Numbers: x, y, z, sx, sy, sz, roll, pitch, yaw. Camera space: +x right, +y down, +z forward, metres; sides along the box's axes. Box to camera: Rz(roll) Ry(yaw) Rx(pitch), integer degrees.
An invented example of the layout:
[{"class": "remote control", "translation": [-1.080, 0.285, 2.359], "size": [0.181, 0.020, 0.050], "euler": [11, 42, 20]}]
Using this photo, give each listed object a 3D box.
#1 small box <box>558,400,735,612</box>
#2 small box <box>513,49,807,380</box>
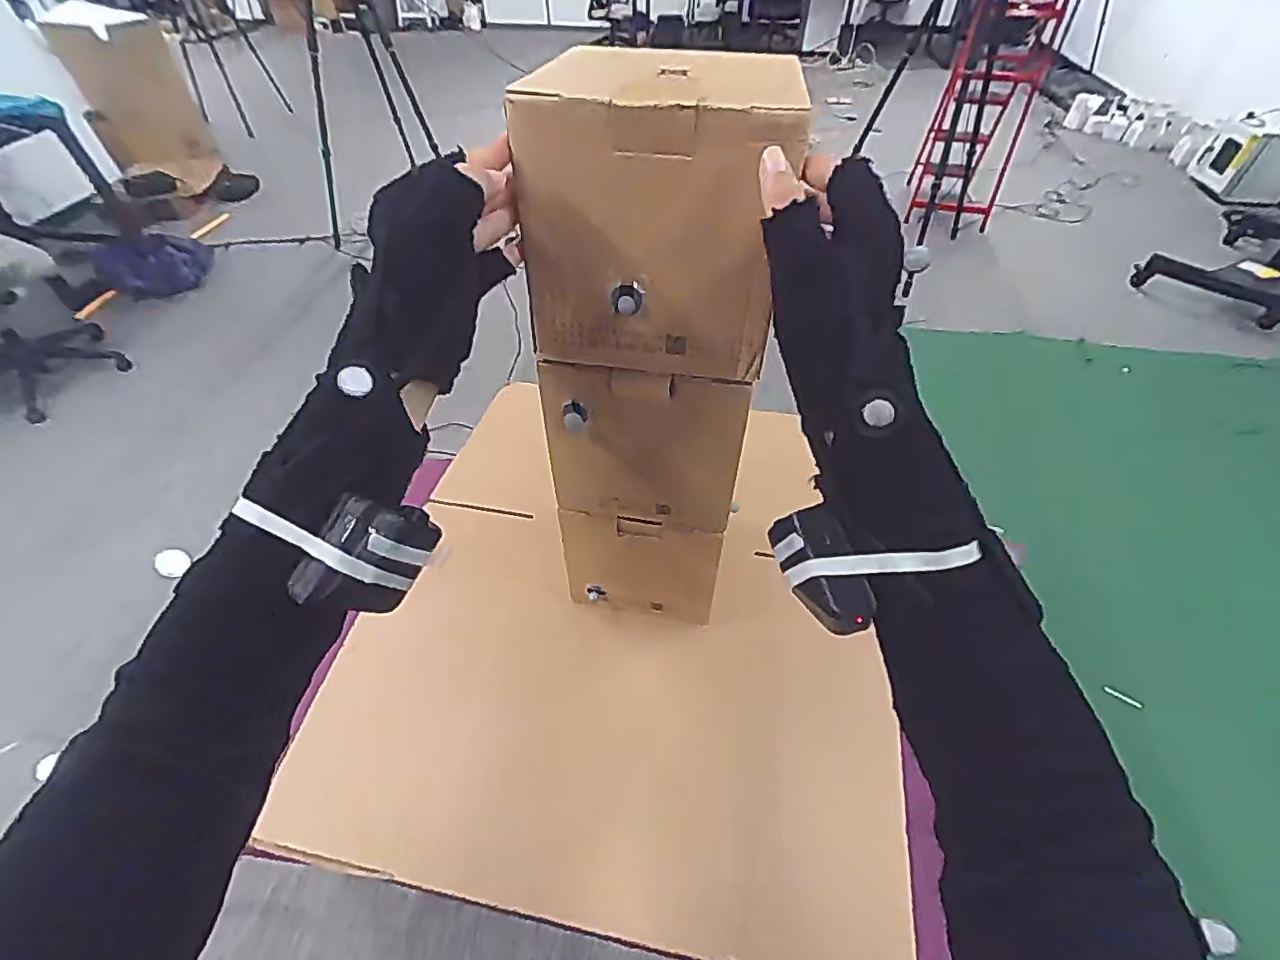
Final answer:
[{"class": "small box", "translation": [0.014, 0.032, 0.637], "size": [0.168, 0.176, 0.179], "euler": [8, 46, 7]}, {"class": "small box", "translation": [0.019, -0.200, 0.406], "size": [0.168, 0.176, 0.179], "euler": [7, 47, 5]}]
